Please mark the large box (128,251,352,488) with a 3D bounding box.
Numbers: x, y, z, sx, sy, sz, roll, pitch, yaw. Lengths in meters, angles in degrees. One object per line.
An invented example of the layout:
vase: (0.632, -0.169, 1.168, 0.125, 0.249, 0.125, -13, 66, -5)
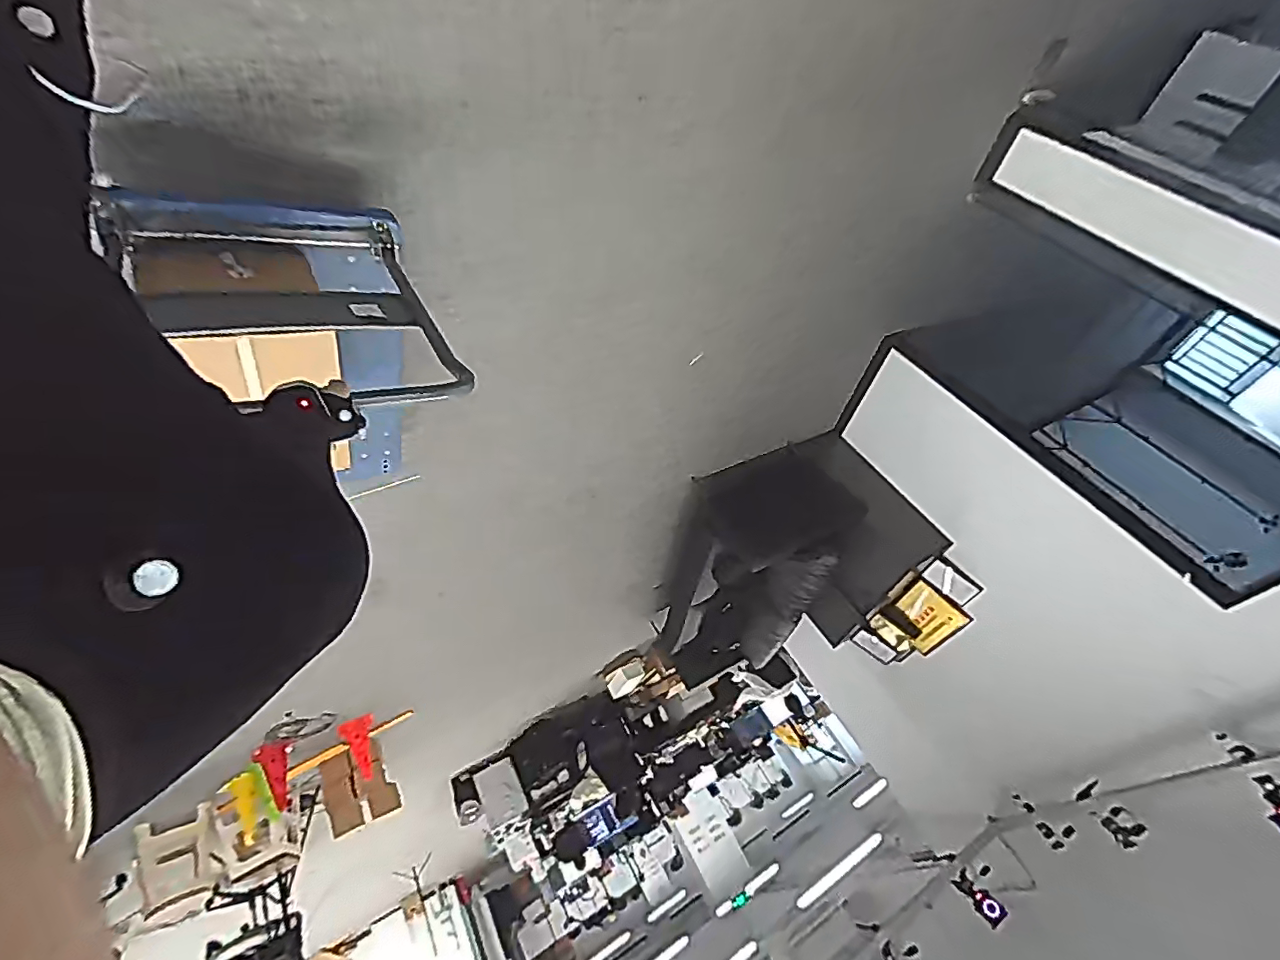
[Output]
large box: (-0.870, -0.253, 1.213, 0.320, 0.320, 0.408, -14, 144, -33)
